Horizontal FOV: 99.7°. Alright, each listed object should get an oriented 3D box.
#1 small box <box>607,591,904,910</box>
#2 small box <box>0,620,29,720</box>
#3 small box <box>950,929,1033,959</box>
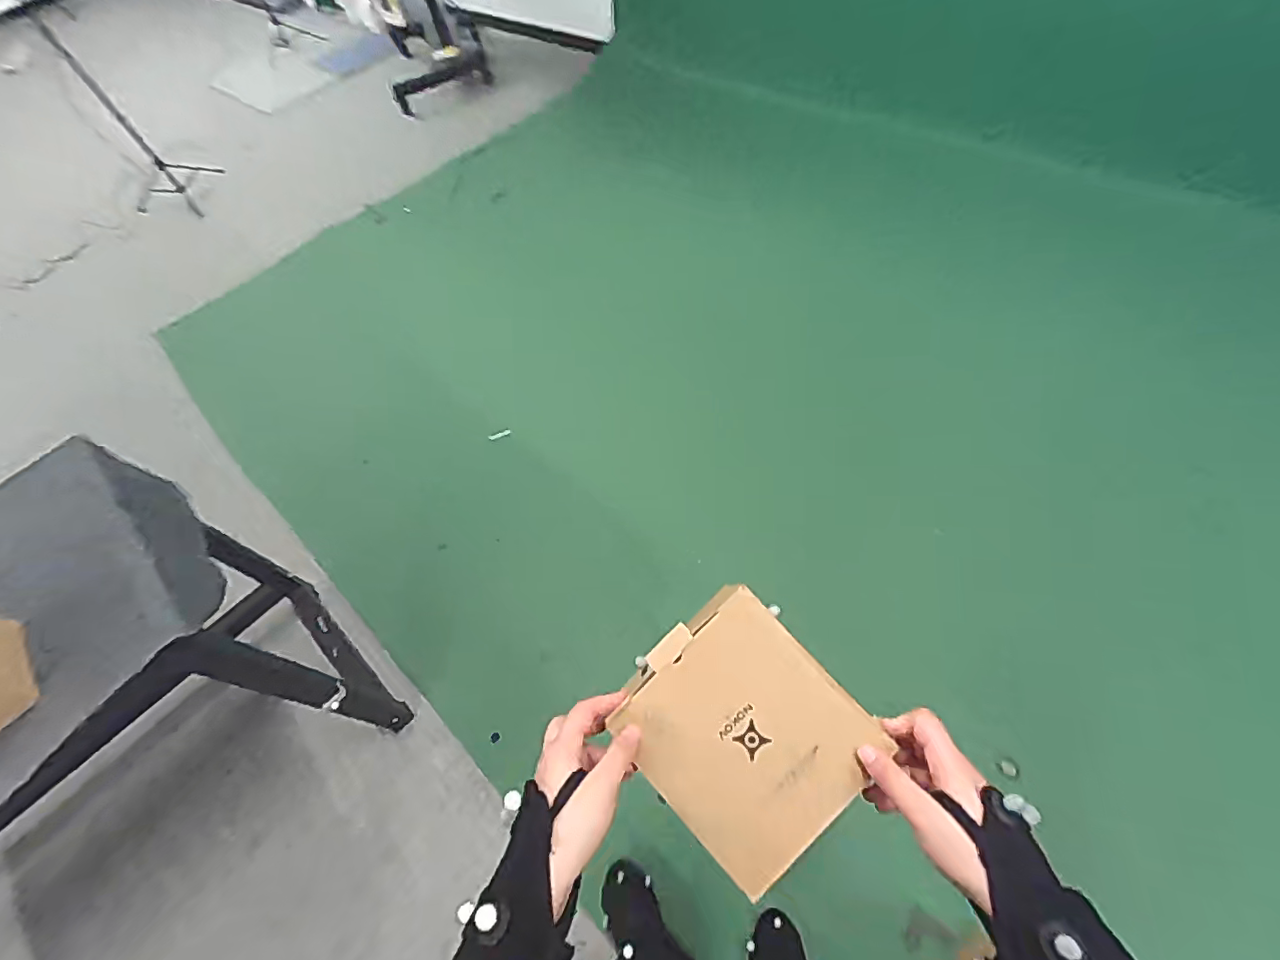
[{"bbox_3d":[0.093,0.223,0.503,0.168,0.176,0.179,-44,79,-5],"label":"small box"},{"bbox_3d":[-0.964,0.265,0.699,0.179,0.176,0.168,35,69,29],"label":"small box"},{"bbox_3d":[0.634,0.928,0.928,0.179,0.176,0.168,-37,60,-15],"label":"small box"}]
